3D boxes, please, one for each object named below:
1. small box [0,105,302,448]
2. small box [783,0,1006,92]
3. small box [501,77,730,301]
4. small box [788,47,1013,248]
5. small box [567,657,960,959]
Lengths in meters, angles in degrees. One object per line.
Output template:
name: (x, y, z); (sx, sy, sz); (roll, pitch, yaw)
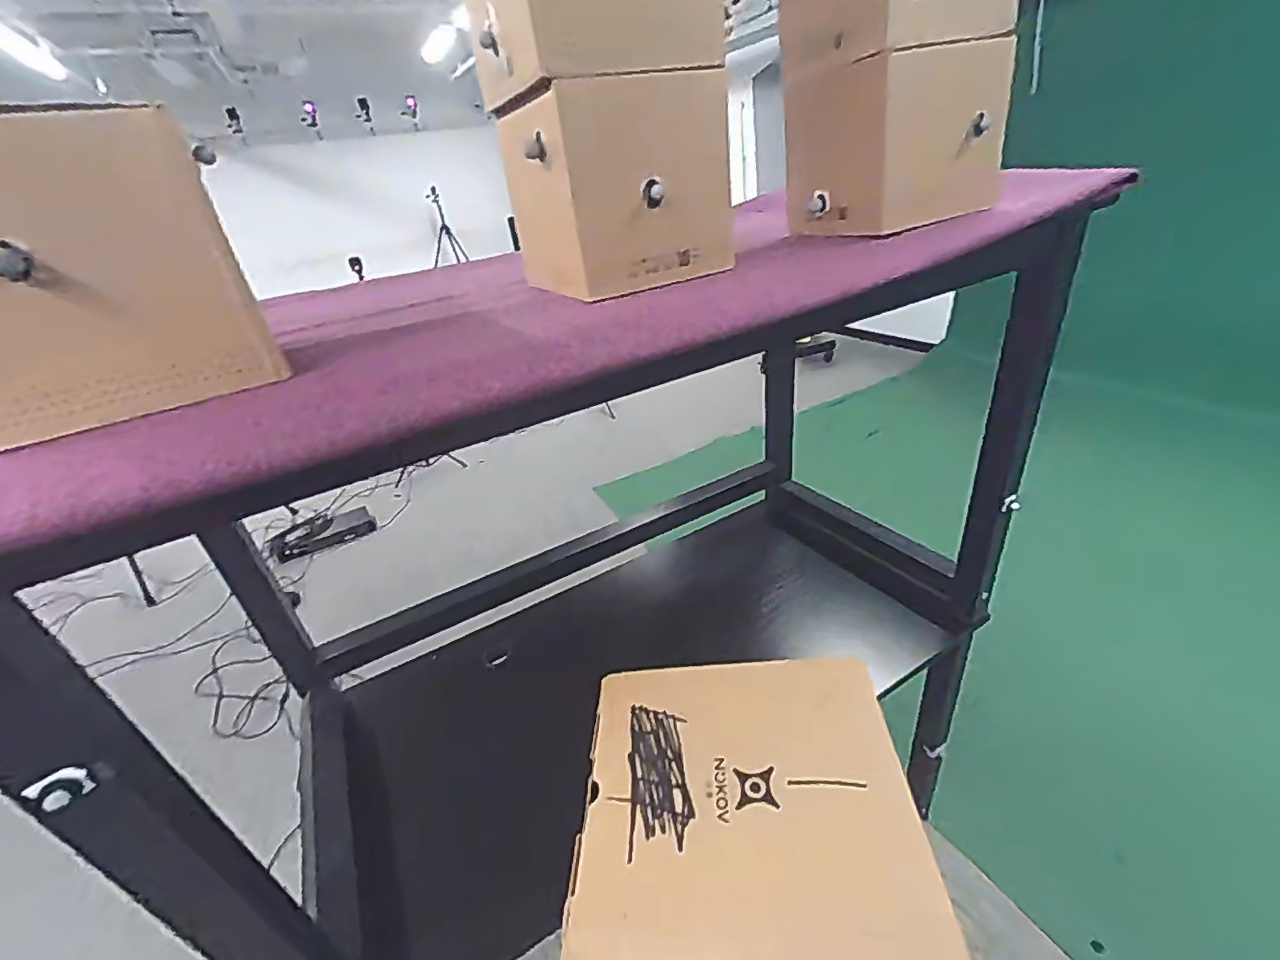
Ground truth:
small box: (-0.370, -0.140, 0.373); (0.179, 0.176, 0.168); (-24, 35, -27)
small box: (0.268, -0.530, 0.578); (0.179, 0.176, 0.168); (-18, 28, -15)
small box: (-0.022, -0.286, 0.550); (0.168, 0.176, 0.179); (-20, 31, -22)
small box: (0.299, -0.387, 0.650); (0.179, 0.176, 0.168); (-21, 29, -17)
small box: (0.070, 0.238, 0.343); (0.179, 0.176, 0.168); (-6, 30, 8)
